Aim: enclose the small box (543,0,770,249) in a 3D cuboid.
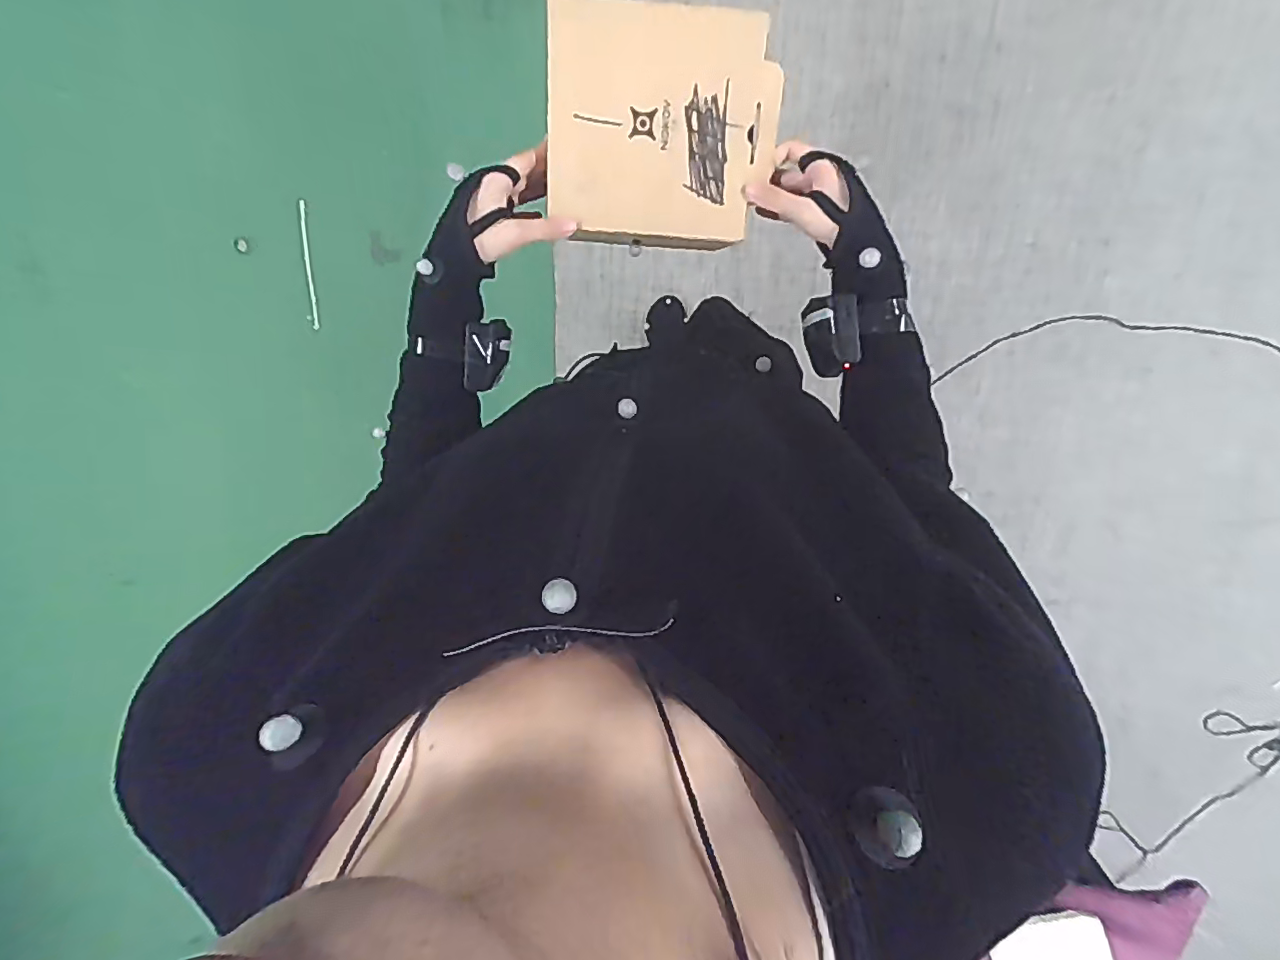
[{"bbox_3d":[0.007,-0.318,0.515,0.179,0.176,0.168,3,109,-3],"label":"small box"}]
